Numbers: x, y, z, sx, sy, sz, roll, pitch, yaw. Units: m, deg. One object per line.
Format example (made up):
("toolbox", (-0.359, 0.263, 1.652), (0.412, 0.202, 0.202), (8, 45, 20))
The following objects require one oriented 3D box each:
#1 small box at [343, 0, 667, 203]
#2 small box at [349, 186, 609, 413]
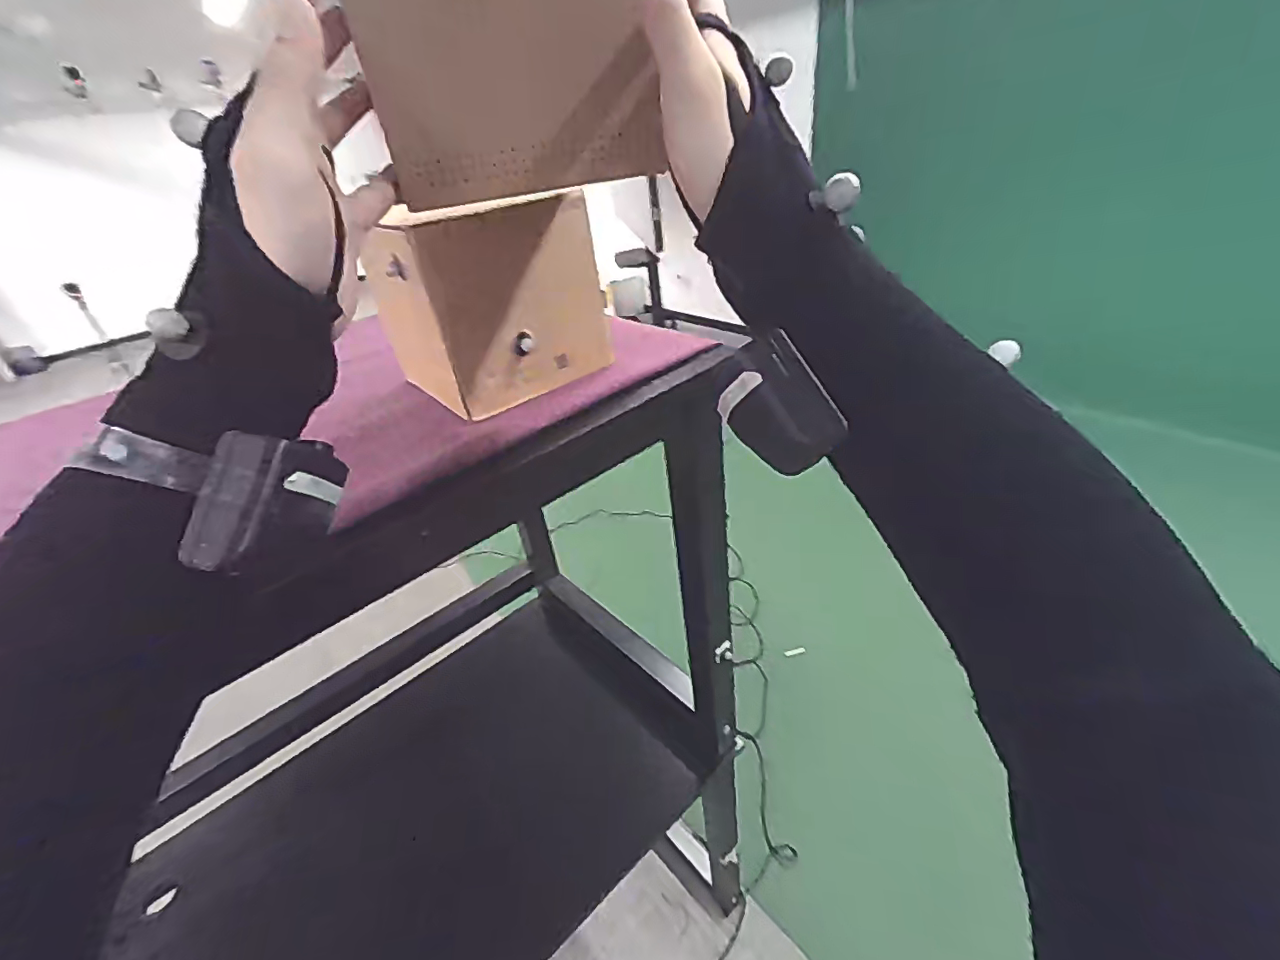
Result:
("small box", (-0.088, -0.296, 0.342), (0.179, 0.176, 0.168), (-16, 51, -12))
("small box", (-0.153, -0.185, 0.539), (0.168, 0.176, 0.179), (-31, 40, -28))
